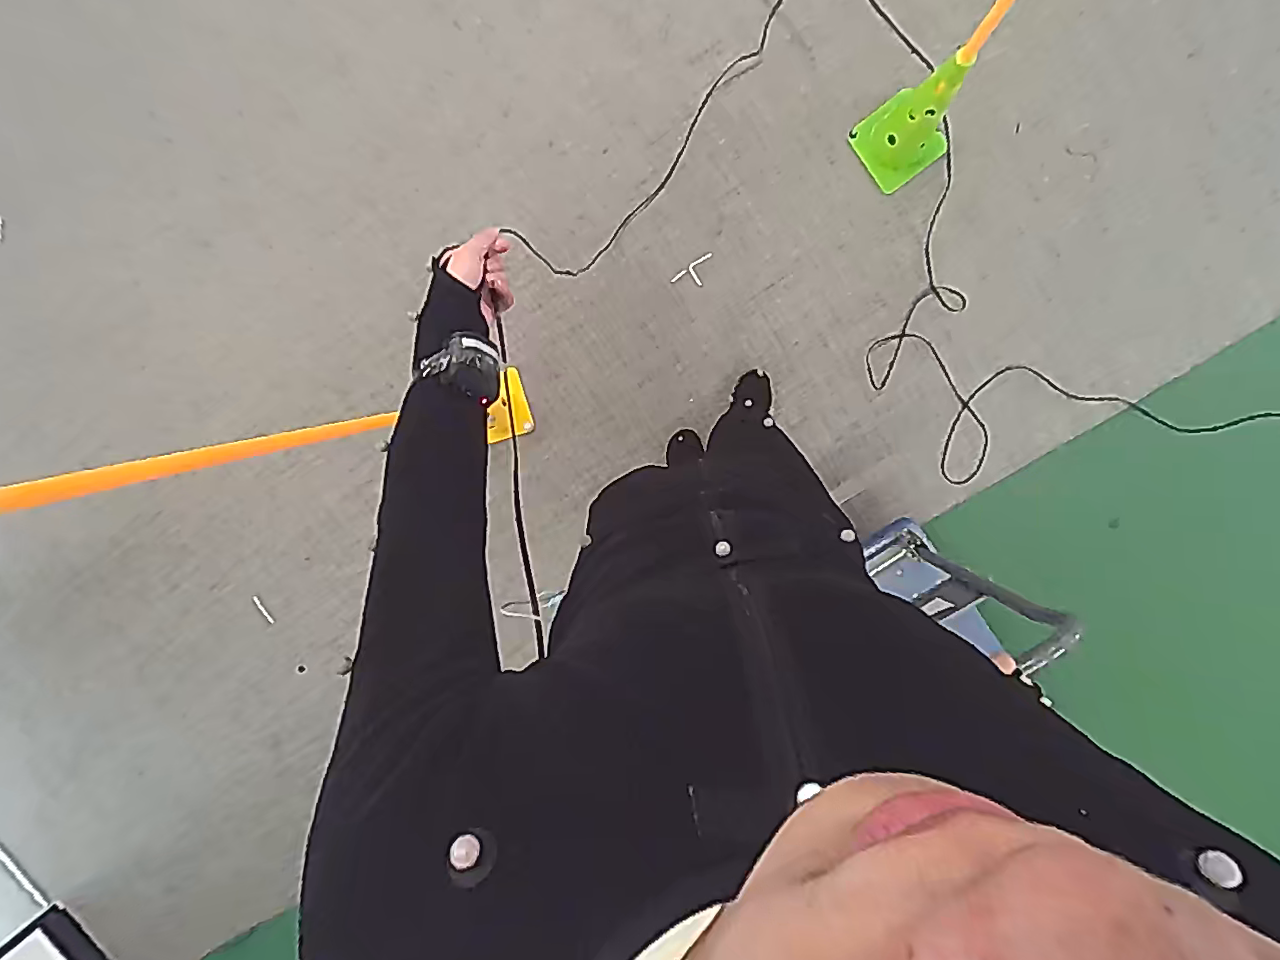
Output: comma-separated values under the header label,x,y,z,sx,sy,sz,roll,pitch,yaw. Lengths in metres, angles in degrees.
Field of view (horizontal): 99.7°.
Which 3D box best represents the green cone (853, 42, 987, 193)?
label,x,y,z,sx,sy,sz,roll,pitch,yaw
green cone,0.682,-0.872,1.257,0.202,0.368,0.200,-37,94,7
